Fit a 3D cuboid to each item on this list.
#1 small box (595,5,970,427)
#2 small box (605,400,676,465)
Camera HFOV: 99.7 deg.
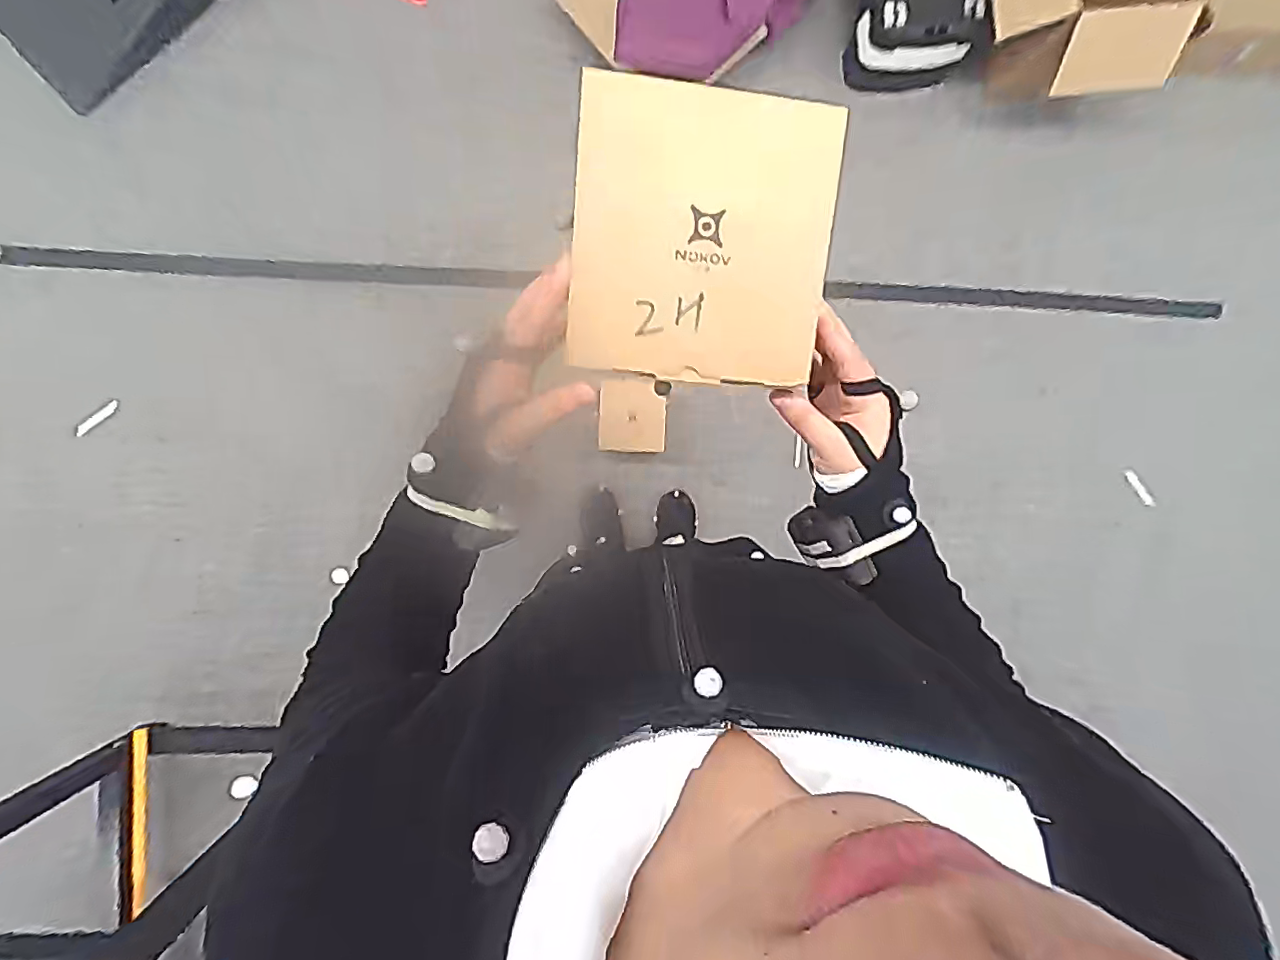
[{"bbox_3d":[0.059,-0.133,0.335,0.168,0.176,0.179,3,102,-6],"label":"small box"},{"bbox_3d":[-0.002,-0.128,1.334,0.168,0.176,0.179,1,93,-2],"label":"small box"}]
